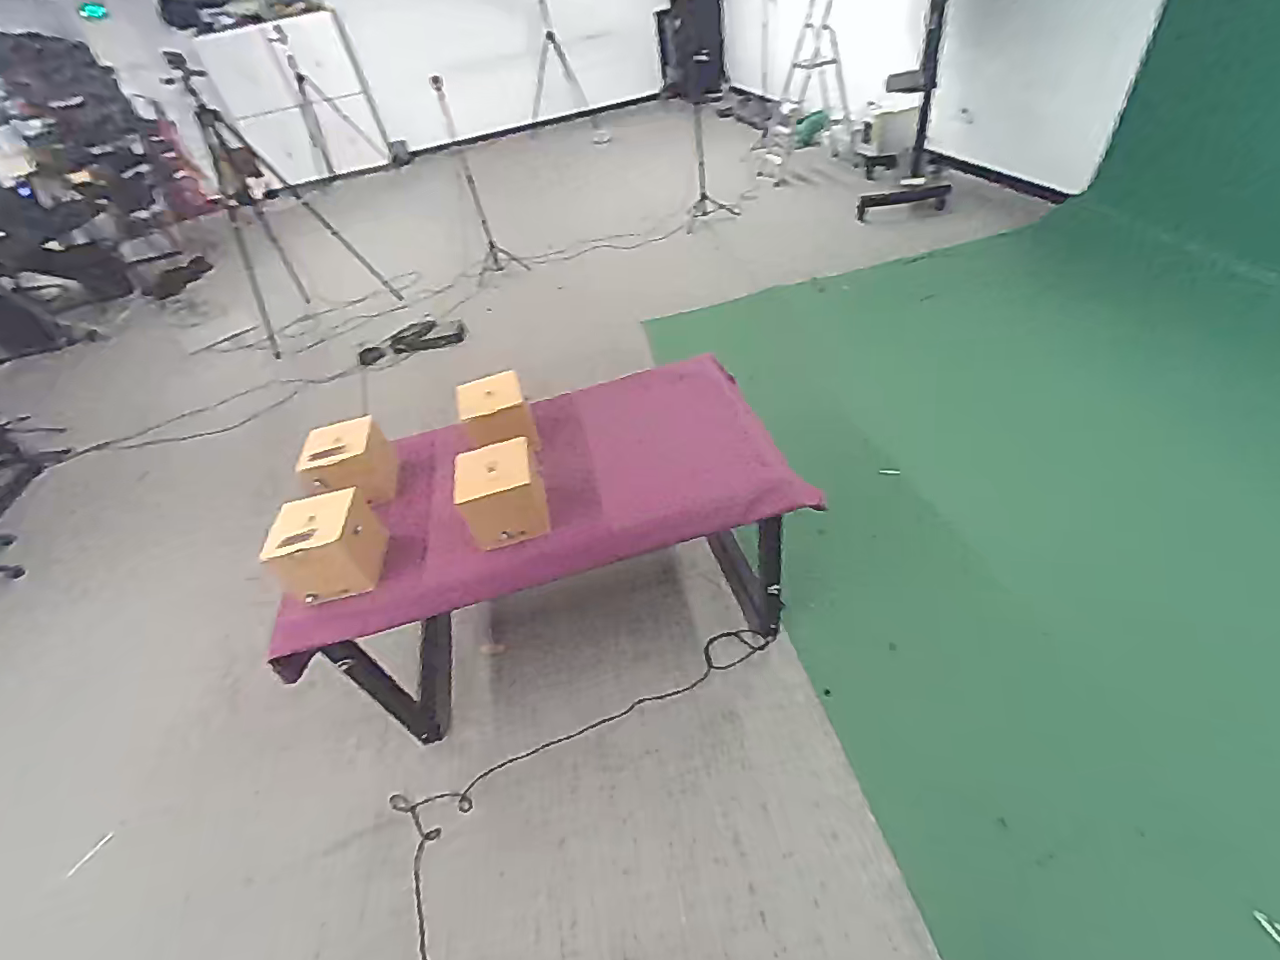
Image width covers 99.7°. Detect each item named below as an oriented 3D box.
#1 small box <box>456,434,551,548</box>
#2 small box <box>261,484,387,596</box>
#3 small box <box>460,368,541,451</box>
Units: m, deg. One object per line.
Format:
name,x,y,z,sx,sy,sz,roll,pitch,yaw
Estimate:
small box,-0.312,0.026,1.252,0.168,0.176,0.179,-16,43,-3
small box,-0.693,0.140,1.212,0.168,0.176,0.179,-13,42,-2
small box,-0.381,-0.176,1.480,0.168,0.176,0.179,-18,45,-7
